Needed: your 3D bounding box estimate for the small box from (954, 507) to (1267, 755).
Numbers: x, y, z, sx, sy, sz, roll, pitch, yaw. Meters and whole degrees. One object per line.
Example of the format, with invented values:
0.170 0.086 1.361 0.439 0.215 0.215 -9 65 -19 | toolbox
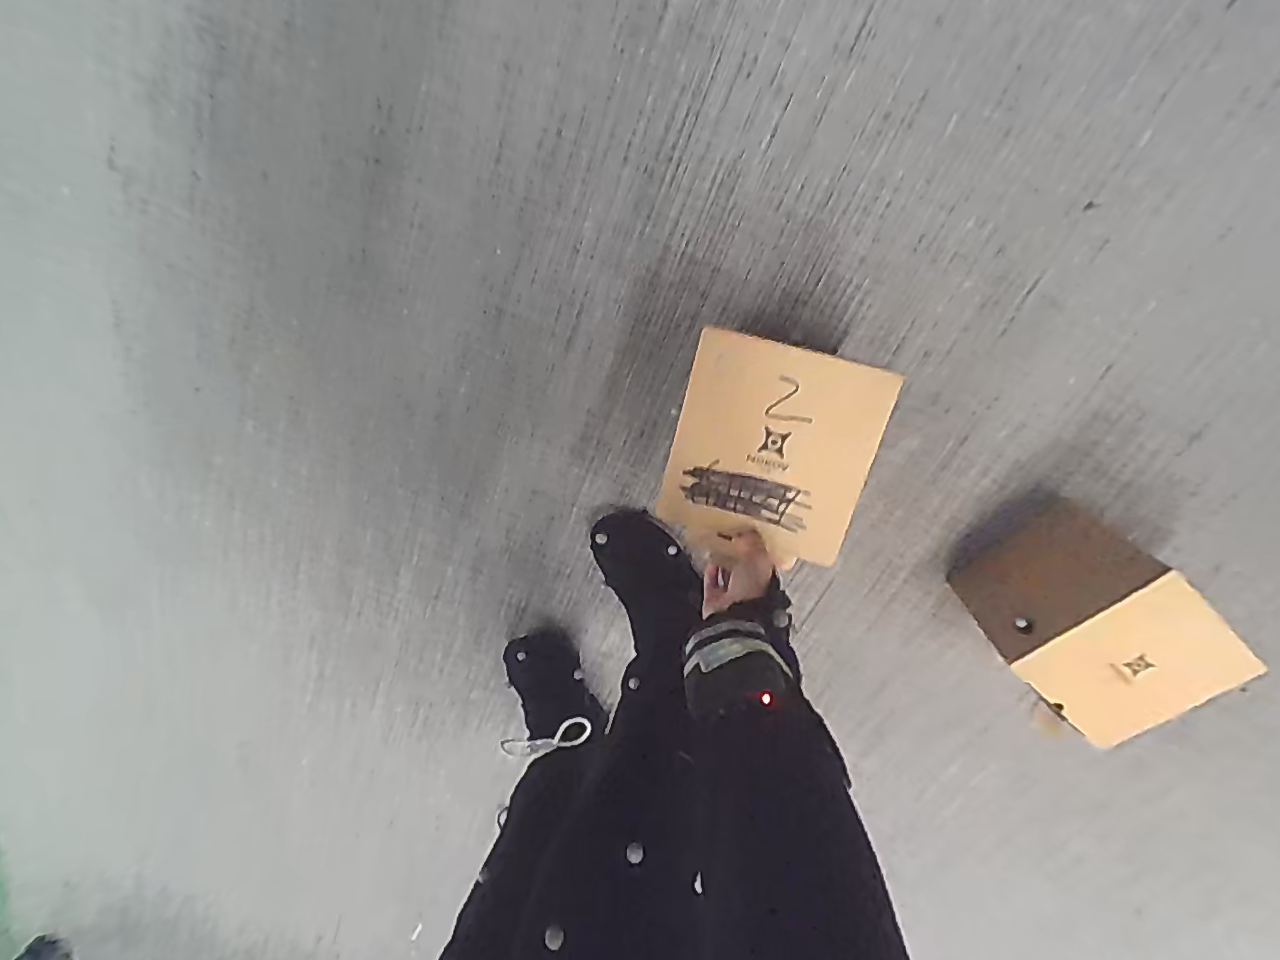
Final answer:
0.508 0.162 0.617 0.168 0.176 0.179 41 112 -10 | small box
